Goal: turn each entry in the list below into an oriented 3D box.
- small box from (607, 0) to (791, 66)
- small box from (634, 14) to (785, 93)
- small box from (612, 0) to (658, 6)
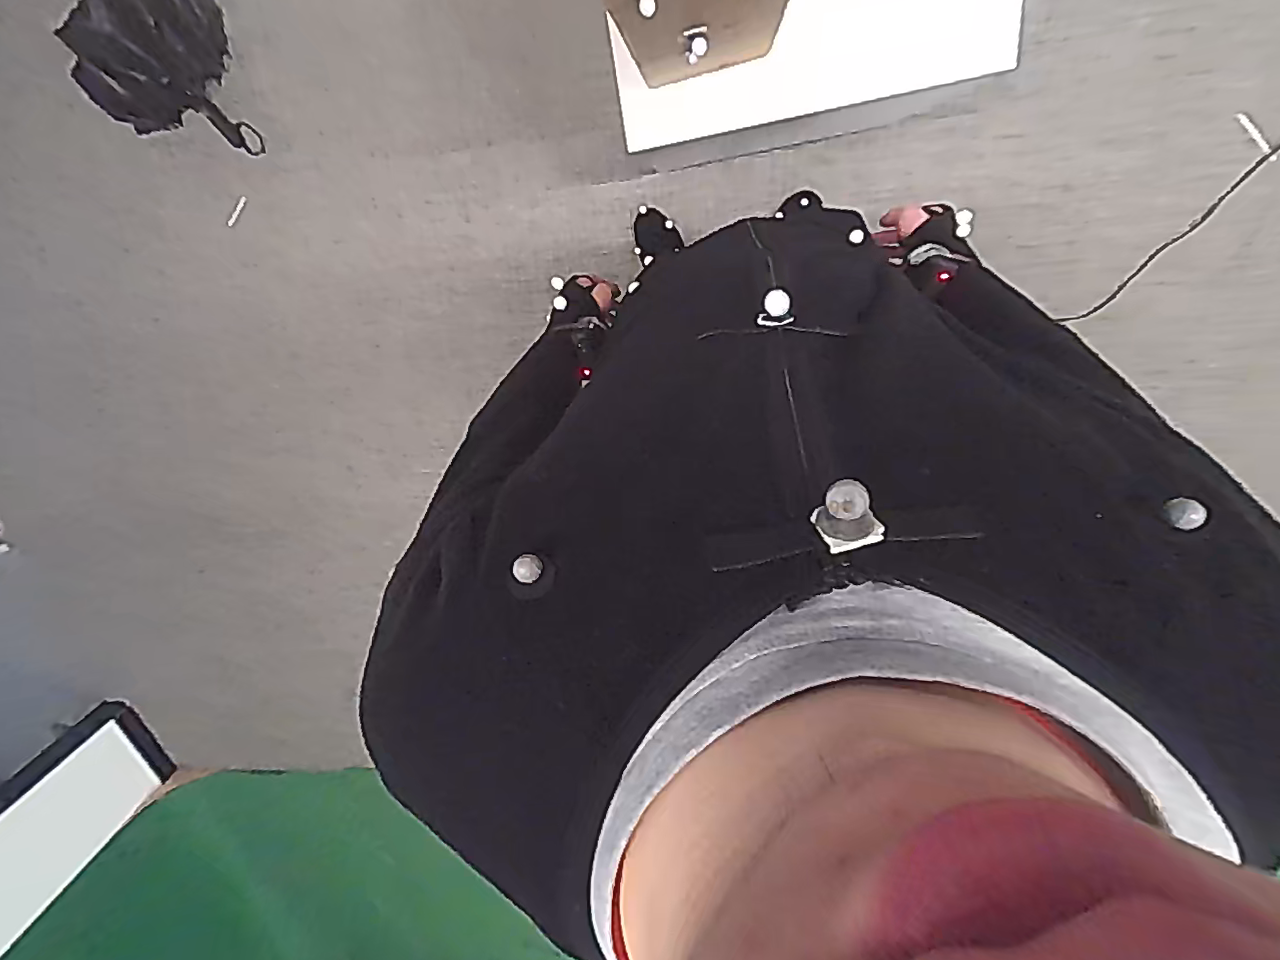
[{"bbox_3d":[0.045,-0.509,0.478,0.168,0.176,0.179,-9,115,13],"label":"small box"},{"bbox_3d":[0.067,-0.583,0.623,0.168,0.176,0.179,-8,116,12],"label":"small box"},{"bbox_3d":[0.023,-0.437,0.332,0.168,0.176,0.179,-10,113,13],"label":"small box"}]
